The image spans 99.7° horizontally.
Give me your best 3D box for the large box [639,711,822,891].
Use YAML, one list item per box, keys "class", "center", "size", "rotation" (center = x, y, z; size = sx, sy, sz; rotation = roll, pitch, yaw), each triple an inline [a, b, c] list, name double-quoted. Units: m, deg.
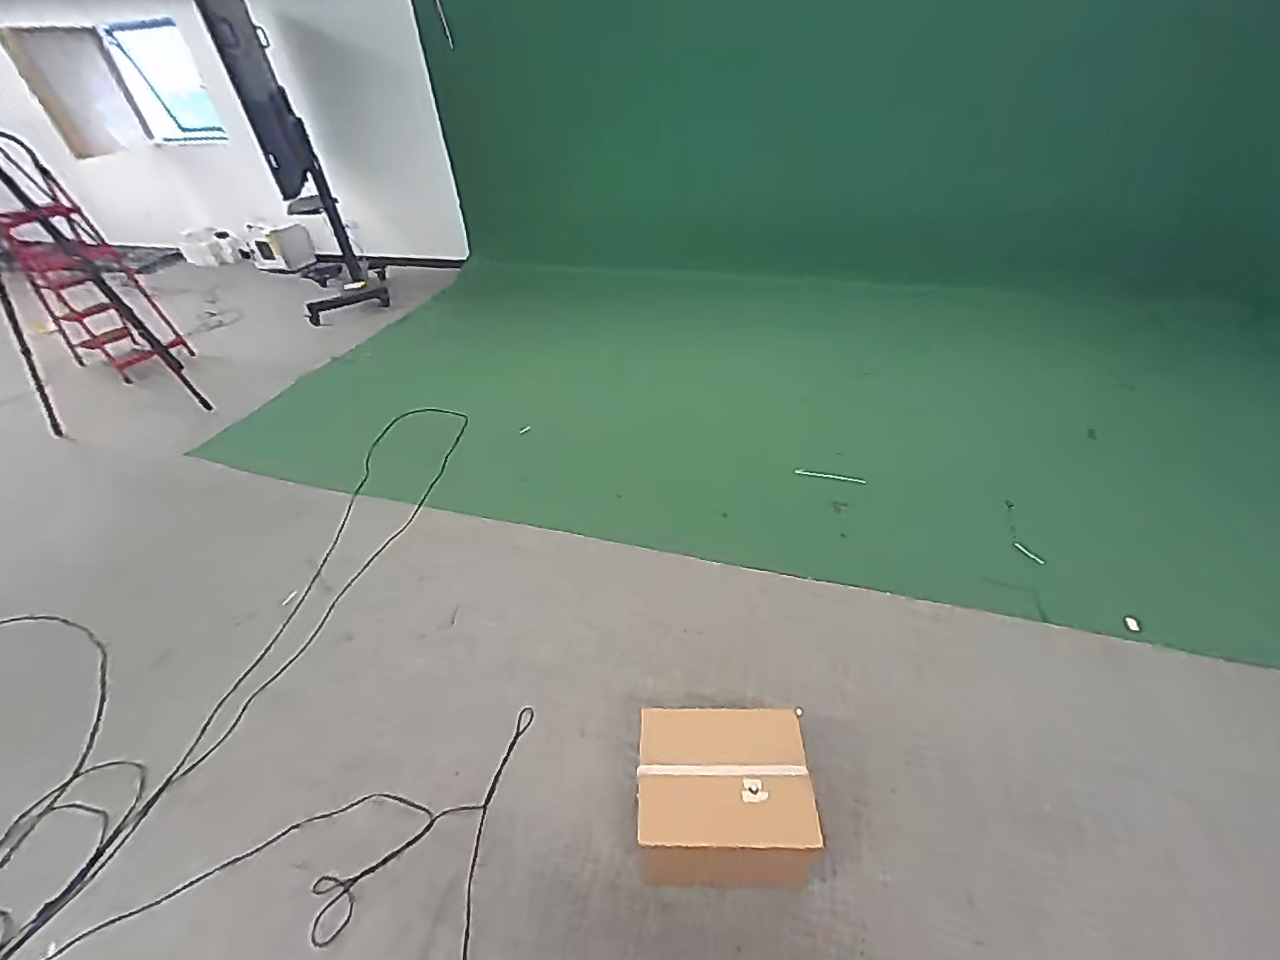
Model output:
- class: "large box"
  center: [0.204, 0.814, 1.377]
  size: [0.408, 0.320, 0.320]
  rotation: [-1, 39, 3]
